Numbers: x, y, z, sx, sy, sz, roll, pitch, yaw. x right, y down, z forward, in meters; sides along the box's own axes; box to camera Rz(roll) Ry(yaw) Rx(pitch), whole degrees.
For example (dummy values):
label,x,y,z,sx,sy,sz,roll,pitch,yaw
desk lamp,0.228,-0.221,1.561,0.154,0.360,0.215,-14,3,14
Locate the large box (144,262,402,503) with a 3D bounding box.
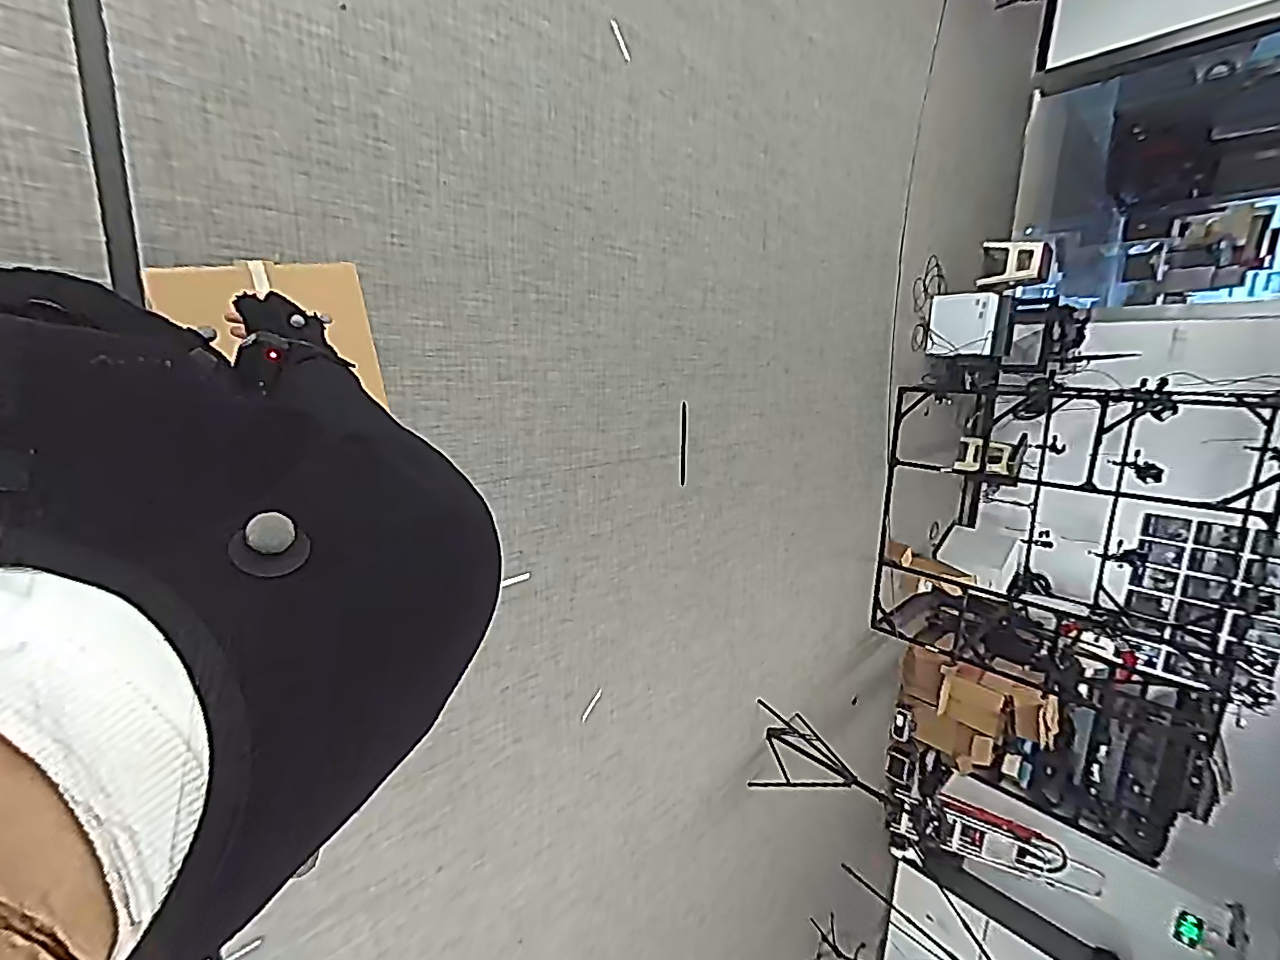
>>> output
label,x,y,z,sx,sy,sz,roll,pitch,yaw
large box,-0.731,-0.214,1.105,0.320,0.320,0.408,-18,112,-33
